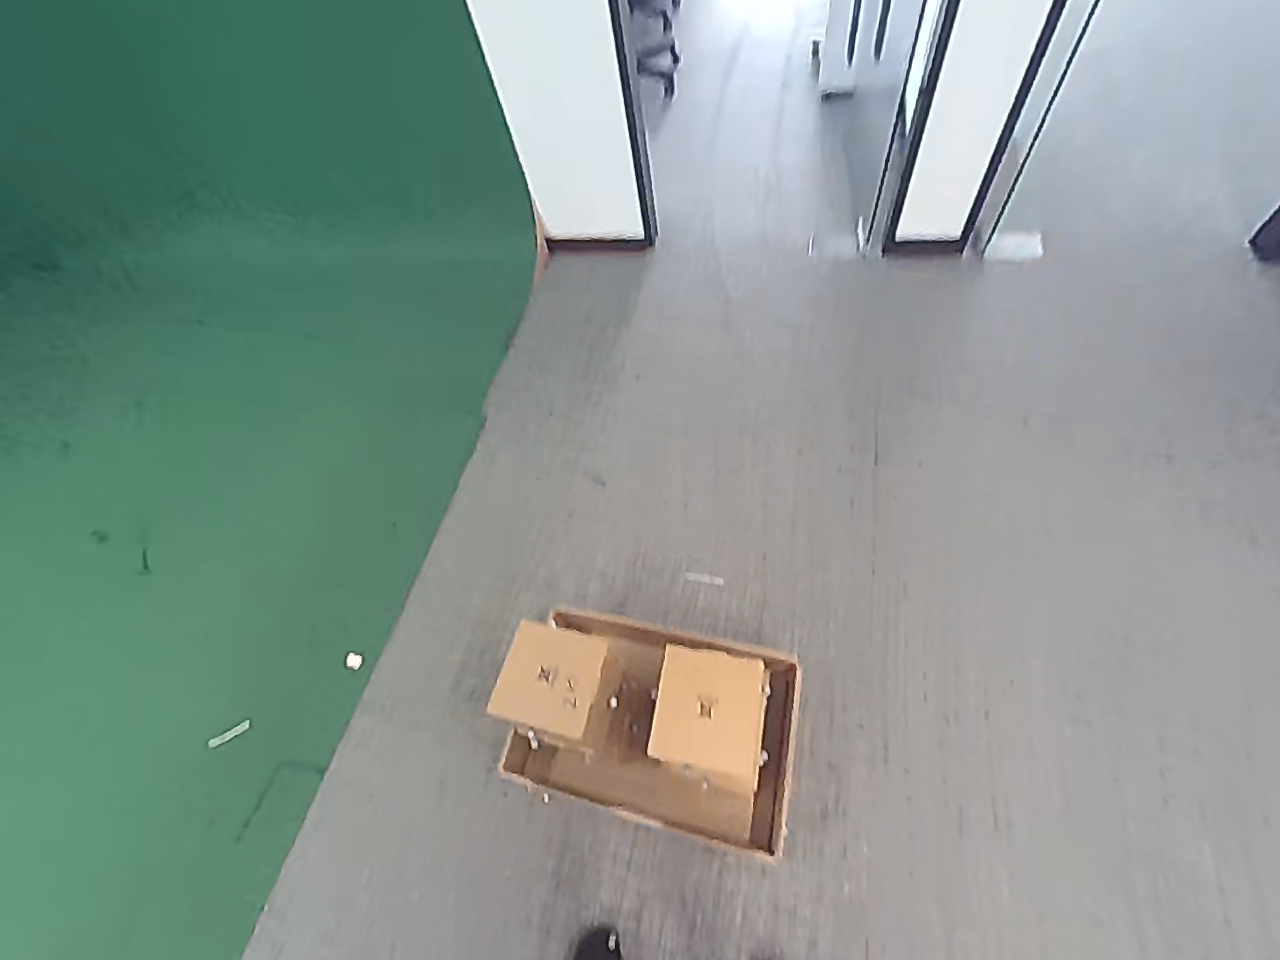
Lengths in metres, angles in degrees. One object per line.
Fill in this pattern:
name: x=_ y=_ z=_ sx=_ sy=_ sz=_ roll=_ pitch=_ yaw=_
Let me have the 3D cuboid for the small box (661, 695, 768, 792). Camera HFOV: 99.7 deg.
small box: x=0.150 y=0.502 z=1.058 sx=0.179 sy=0.176 sz=0.168 roll=7 pitch=61 yaw=14

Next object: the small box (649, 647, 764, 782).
small box: x=0.123 y=0.407 z=0.929 sx=0.168 sy=0.176 sz=0.179 roll=5 pitch=60 yaw=15

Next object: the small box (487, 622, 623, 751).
small box: x=-0.143 y=0.380 z=0.985 sx=0.179 sy=0.176 sz=0.168 roll=10 pitch=60 yaw=14
